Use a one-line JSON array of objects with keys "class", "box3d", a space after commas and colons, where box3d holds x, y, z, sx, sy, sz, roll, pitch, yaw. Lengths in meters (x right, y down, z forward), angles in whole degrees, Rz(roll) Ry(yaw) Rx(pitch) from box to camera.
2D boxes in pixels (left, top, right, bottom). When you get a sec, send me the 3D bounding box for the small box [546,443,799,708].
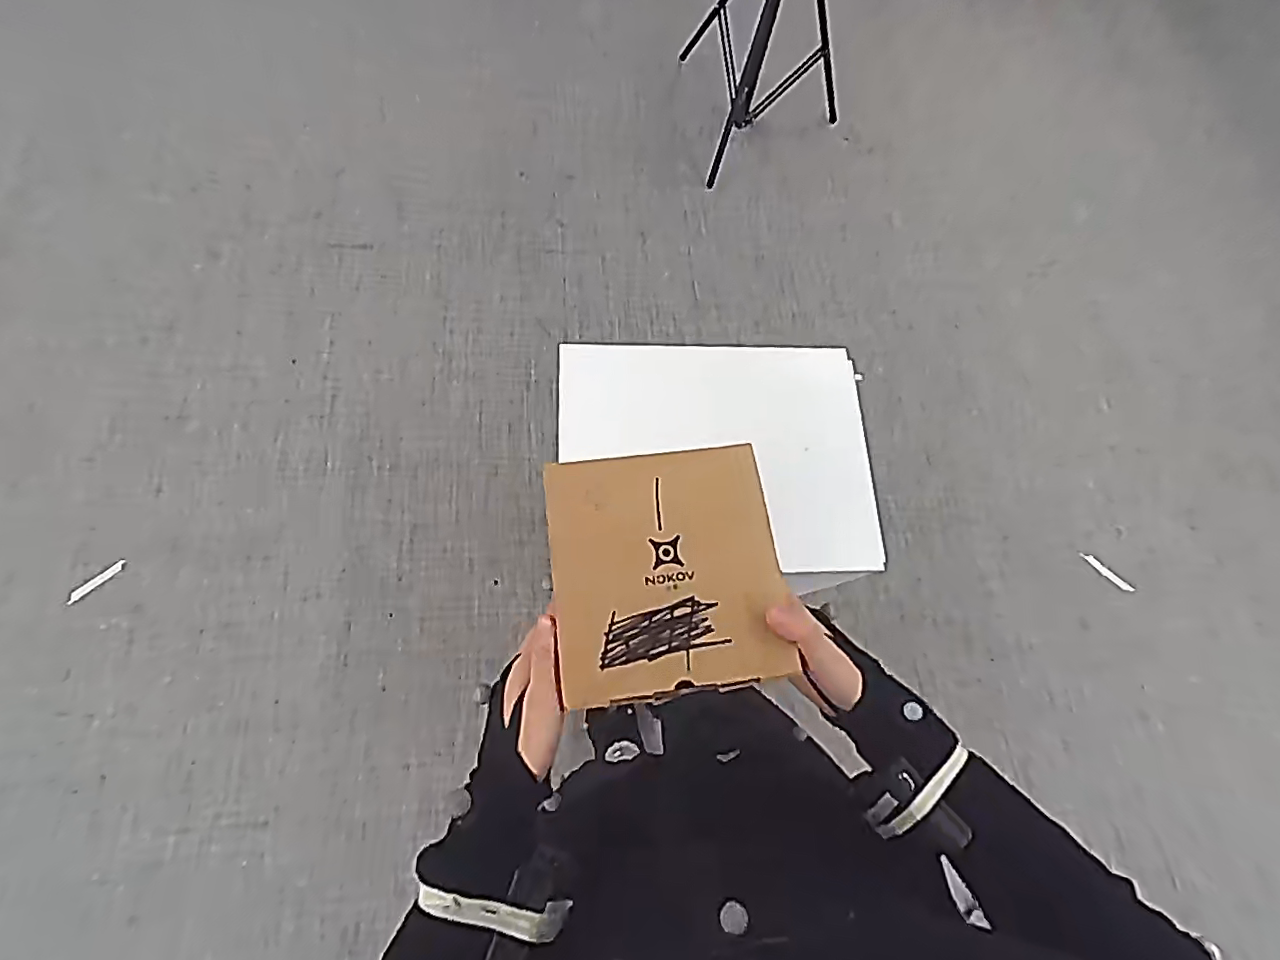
[{"class": "small box", "box3d": [0.015, 0.086, 0.464, 0.168, 0.176, 0.179, -6, 70, -6]}]
